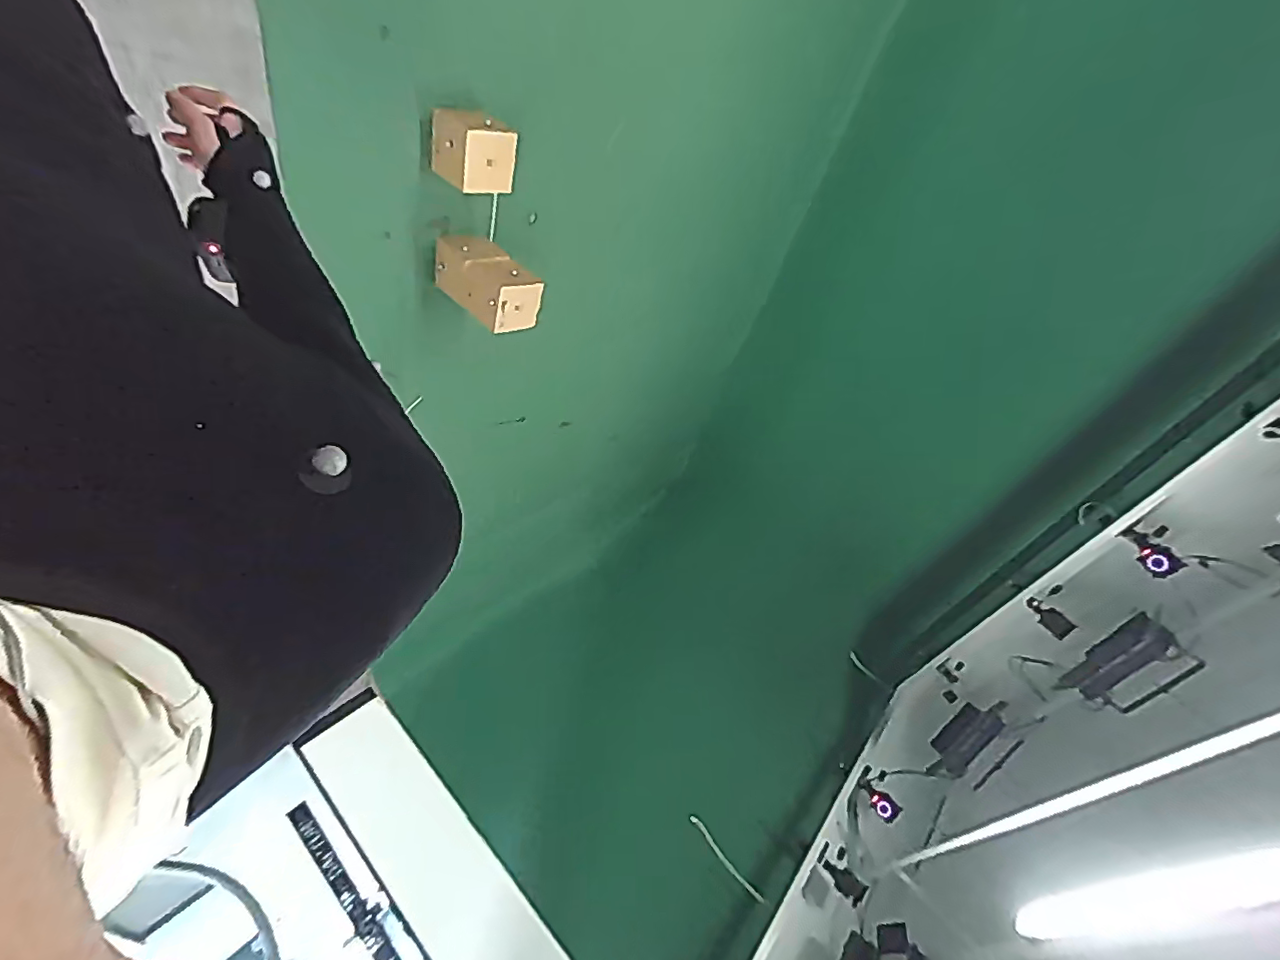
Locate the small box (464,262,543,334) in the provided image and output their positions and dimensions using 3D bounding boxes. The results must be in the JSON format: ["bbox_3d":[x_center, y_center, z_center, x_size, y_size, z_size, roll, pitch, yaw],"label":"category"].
[{"bbox_3d":[-0.457,-0.611,1.800,0.179,0.176,0.168,-28,151,-44],"label":"small box"}]

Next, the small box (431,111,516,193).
[{"bbox_3d":[-0.494,-0.963,1.590,0.179,0.176,0.168,-30,152,-42],"label":"small box"}]
